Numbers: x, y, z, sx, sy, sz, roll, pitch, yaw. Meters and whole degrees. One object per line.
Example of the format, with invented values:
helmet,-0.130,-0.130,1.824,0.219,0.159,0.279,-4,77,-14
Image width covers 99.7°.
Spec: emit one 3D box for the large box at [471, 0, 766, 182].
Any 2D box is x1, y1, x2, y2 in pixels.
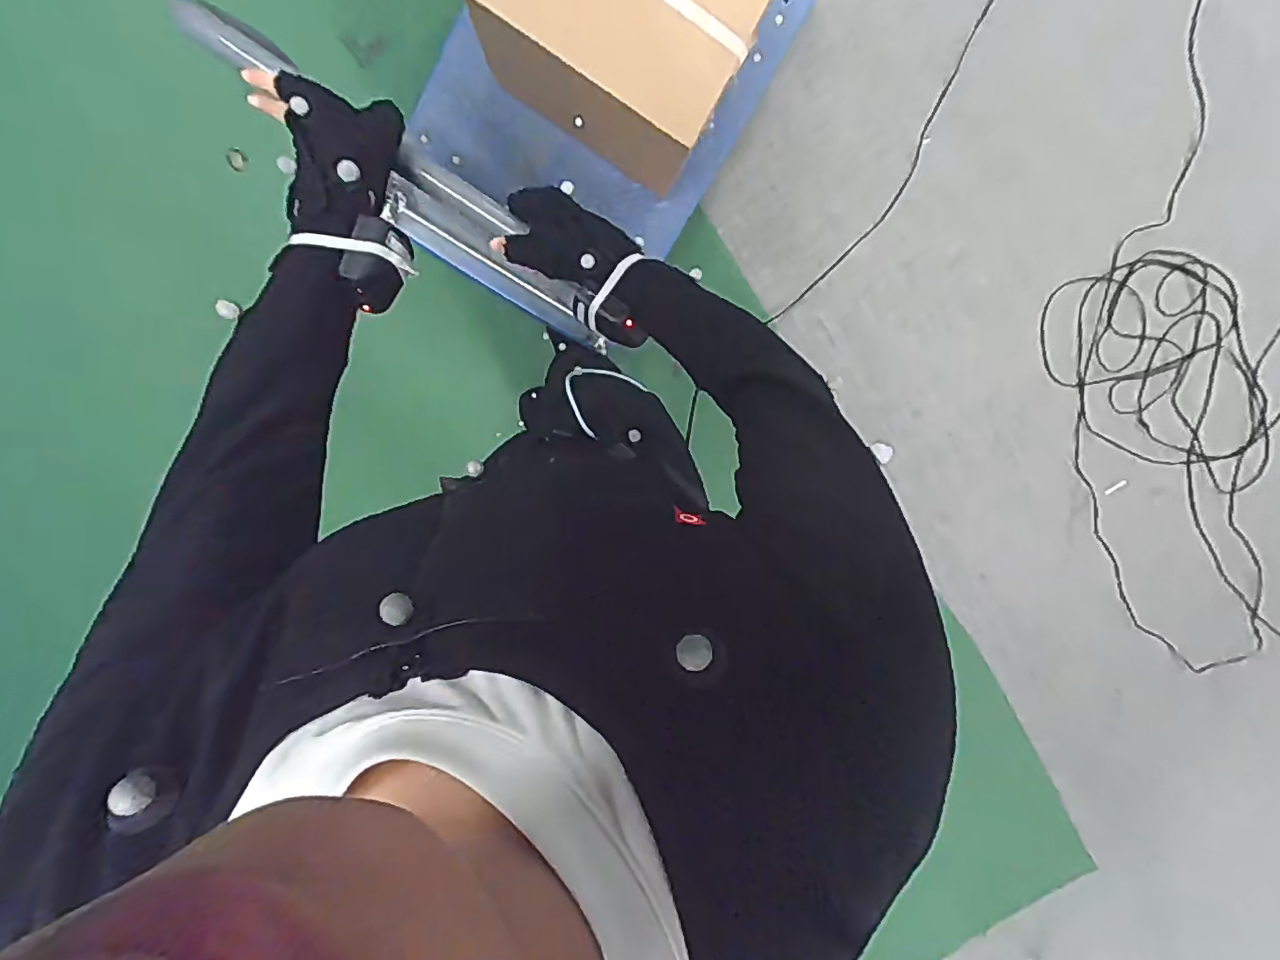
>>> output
large box,-0.025,-0.807,0.946,0.408,0.320,0.320,28,101,-12
